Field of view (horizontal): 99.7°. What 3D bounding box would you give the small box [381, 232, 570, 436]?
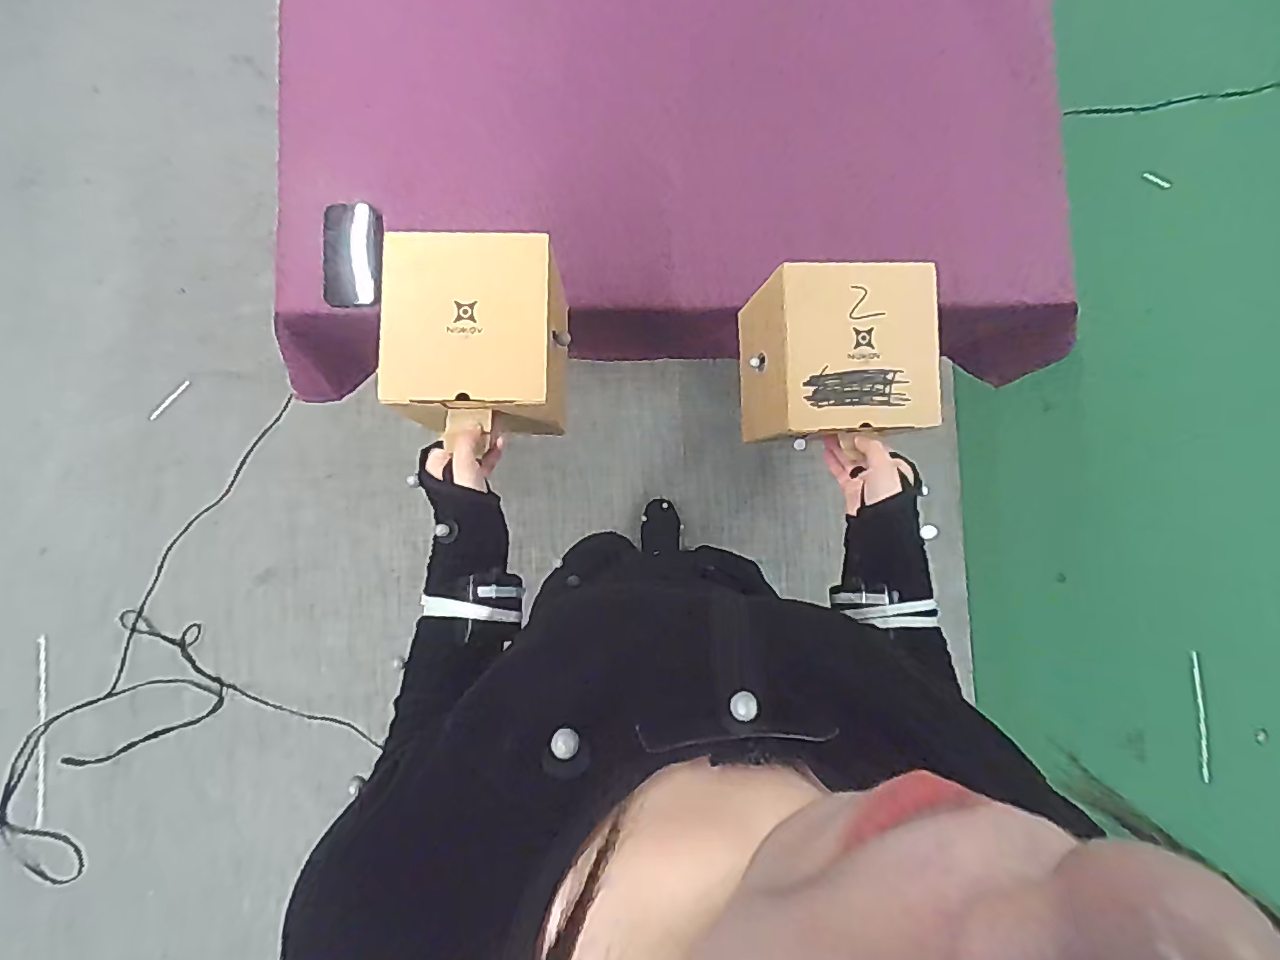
[{"bbox_3d":[-0.171,-0.152,0.611,0.168,0.176,0.179,0,86,-2],"label":"small box"}]
